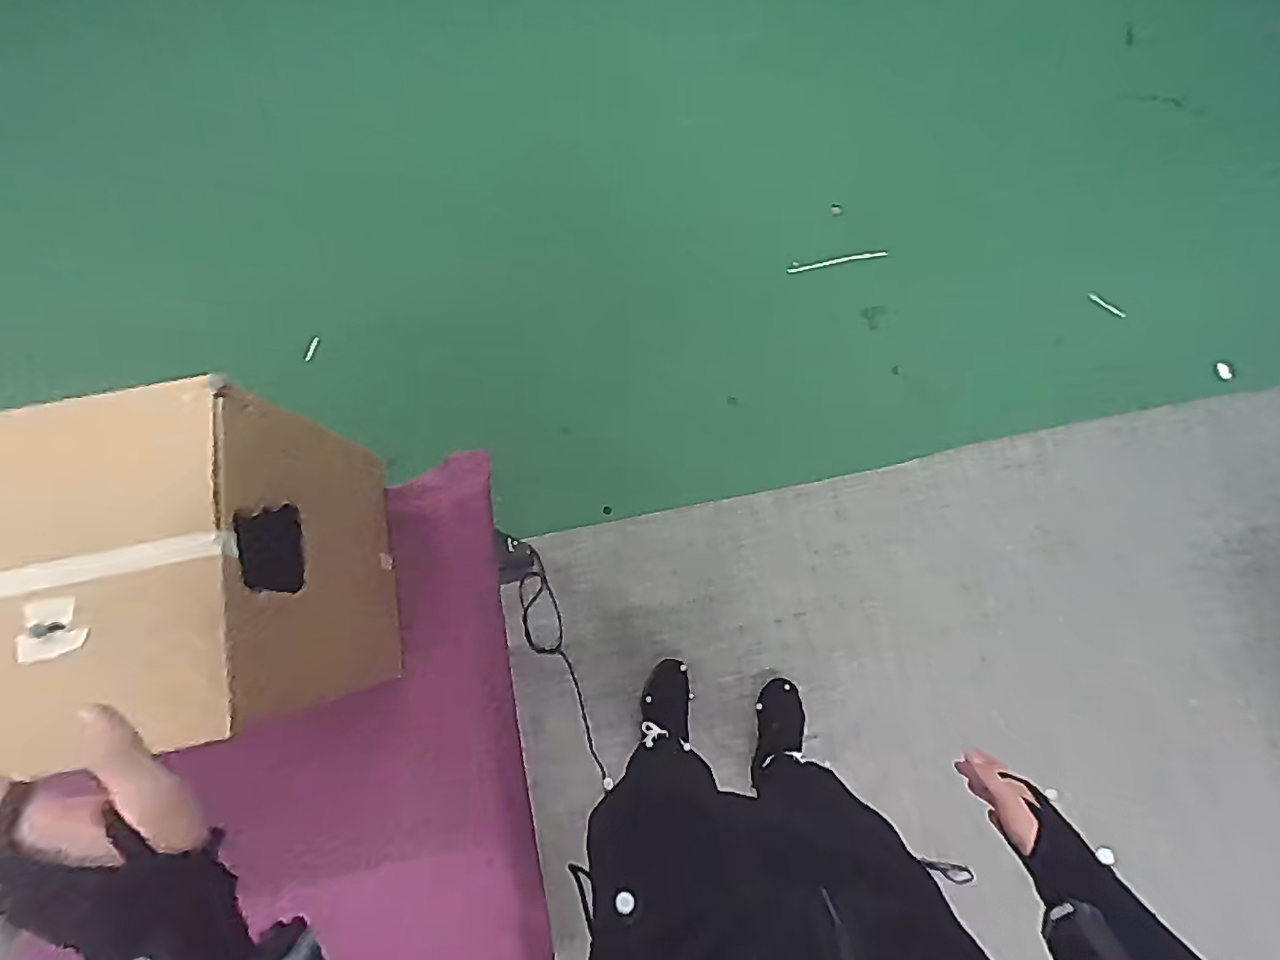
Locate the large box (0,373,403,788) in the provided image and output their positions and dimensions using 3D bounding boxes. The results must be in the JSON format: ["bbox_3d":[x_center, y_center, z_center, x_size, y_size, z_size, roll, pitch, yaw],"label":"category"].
[{"bbox_3d":[-0.534,0.120,0.590,0.408,0.320,0.320,-11,80,-3],"label":"large box"}]
